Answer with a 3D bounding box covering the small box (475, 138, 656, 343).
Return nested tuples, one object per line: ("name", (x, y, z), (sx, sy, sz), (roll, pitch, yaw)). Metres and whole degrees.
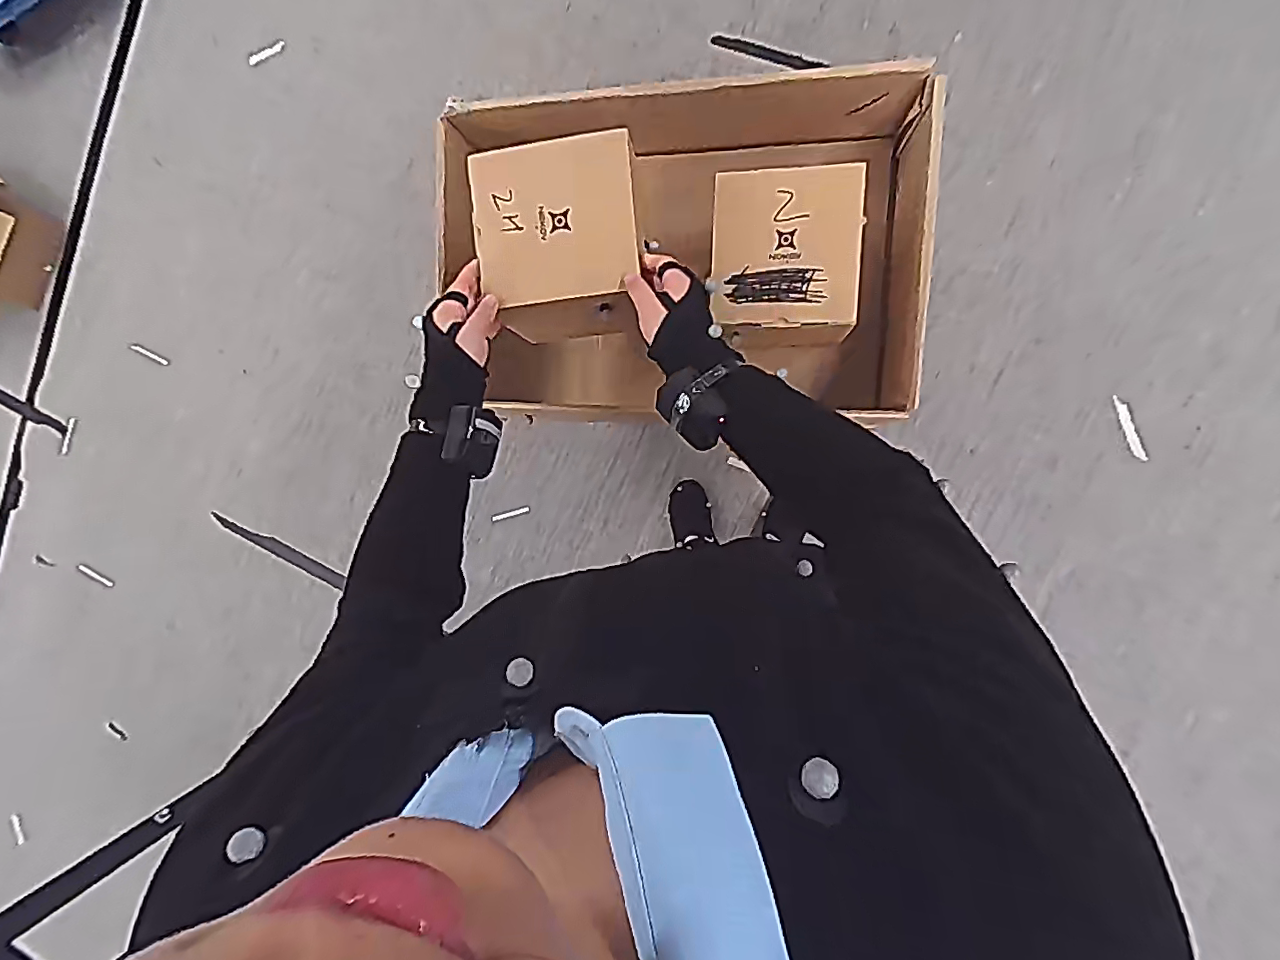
("small box", (-0.076, -0.270, 0.650), (0.179, 0.176, 0.168), (-5, 91, 8))
